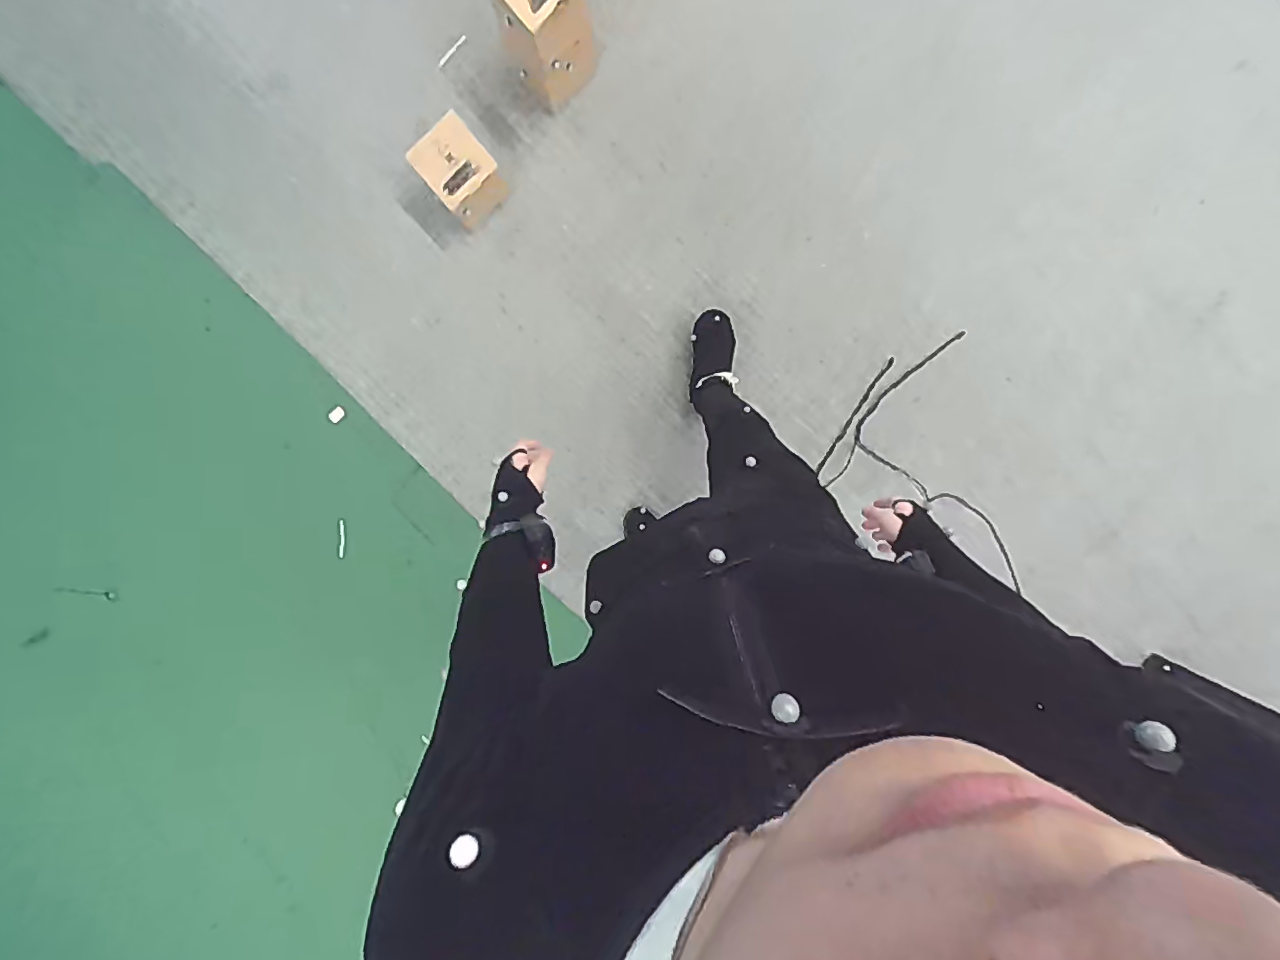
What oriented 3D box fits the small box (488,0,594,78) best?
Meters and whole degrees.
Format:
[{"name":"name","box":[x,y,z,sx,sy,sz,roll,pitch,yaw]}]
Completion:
[{"name":"small box","box":[-0.222,-1.062,1.220,0.168,0.176,0.179,-42,94,5]}]

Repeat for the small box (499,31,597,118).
[{"name":"small box","box":[-0.225,-1.083,1.383,0.179,0.176,0.168,-43,95,5]}]
